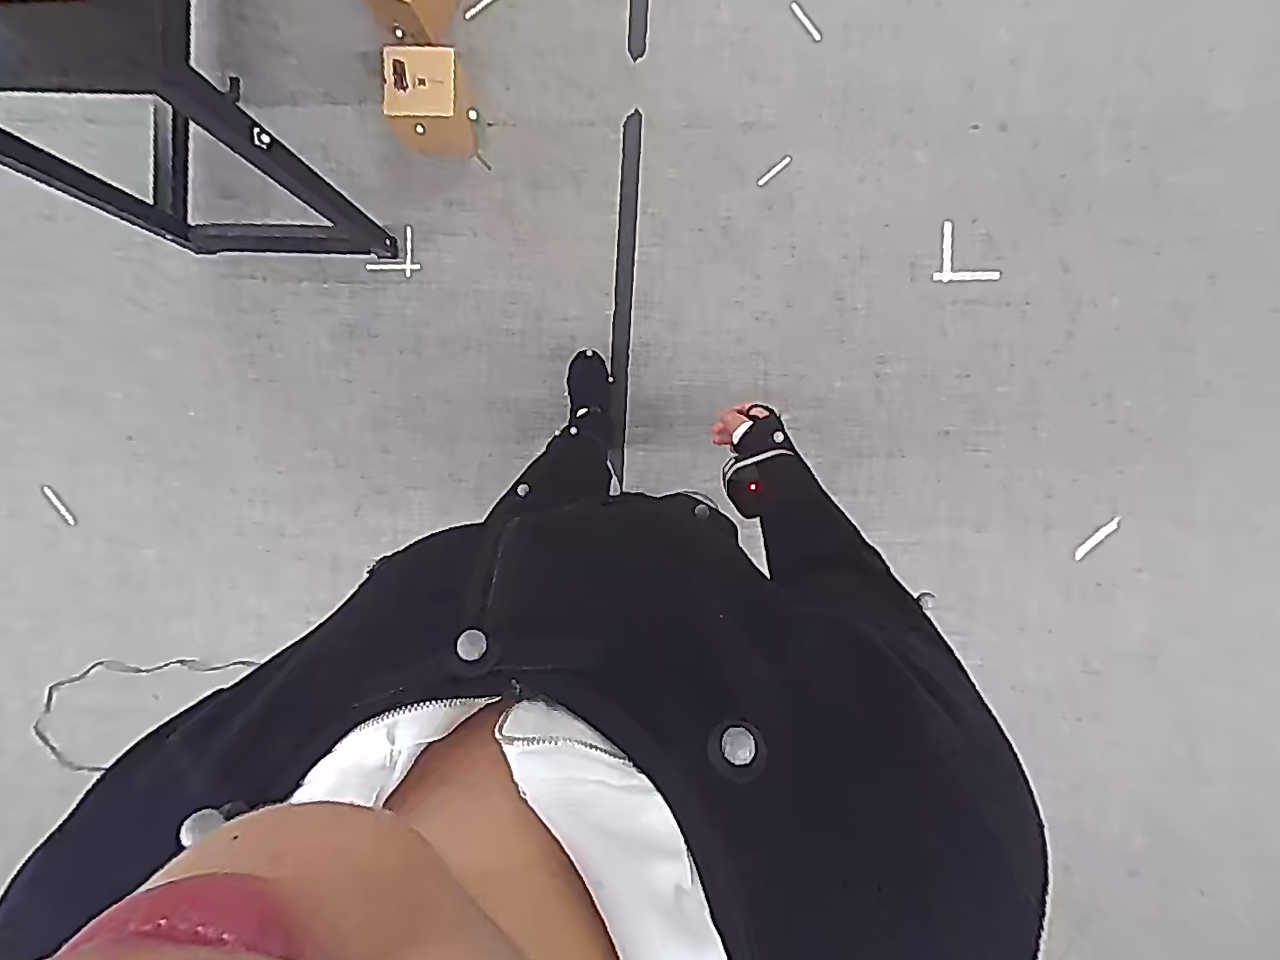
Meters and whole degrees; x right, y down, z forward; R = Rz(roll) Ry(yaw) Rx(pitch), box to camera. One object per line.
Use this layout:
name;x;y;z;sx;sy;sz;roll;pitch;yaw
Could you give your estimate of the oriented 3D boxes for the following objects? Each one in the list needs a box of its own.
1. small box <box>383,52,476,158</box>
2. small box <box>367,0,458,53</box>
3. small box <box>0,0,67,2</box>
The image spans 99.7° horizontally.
small box;-0.540;-0.963;1.401;0.179;0.176;0.168;2;92;0
small box;-0.593;-1.260;1.395;0.168;0.176;0.179;23;94;2
small box;-0.873;-0.758;0.688;0.179;0.176;0.168;0;91;2
